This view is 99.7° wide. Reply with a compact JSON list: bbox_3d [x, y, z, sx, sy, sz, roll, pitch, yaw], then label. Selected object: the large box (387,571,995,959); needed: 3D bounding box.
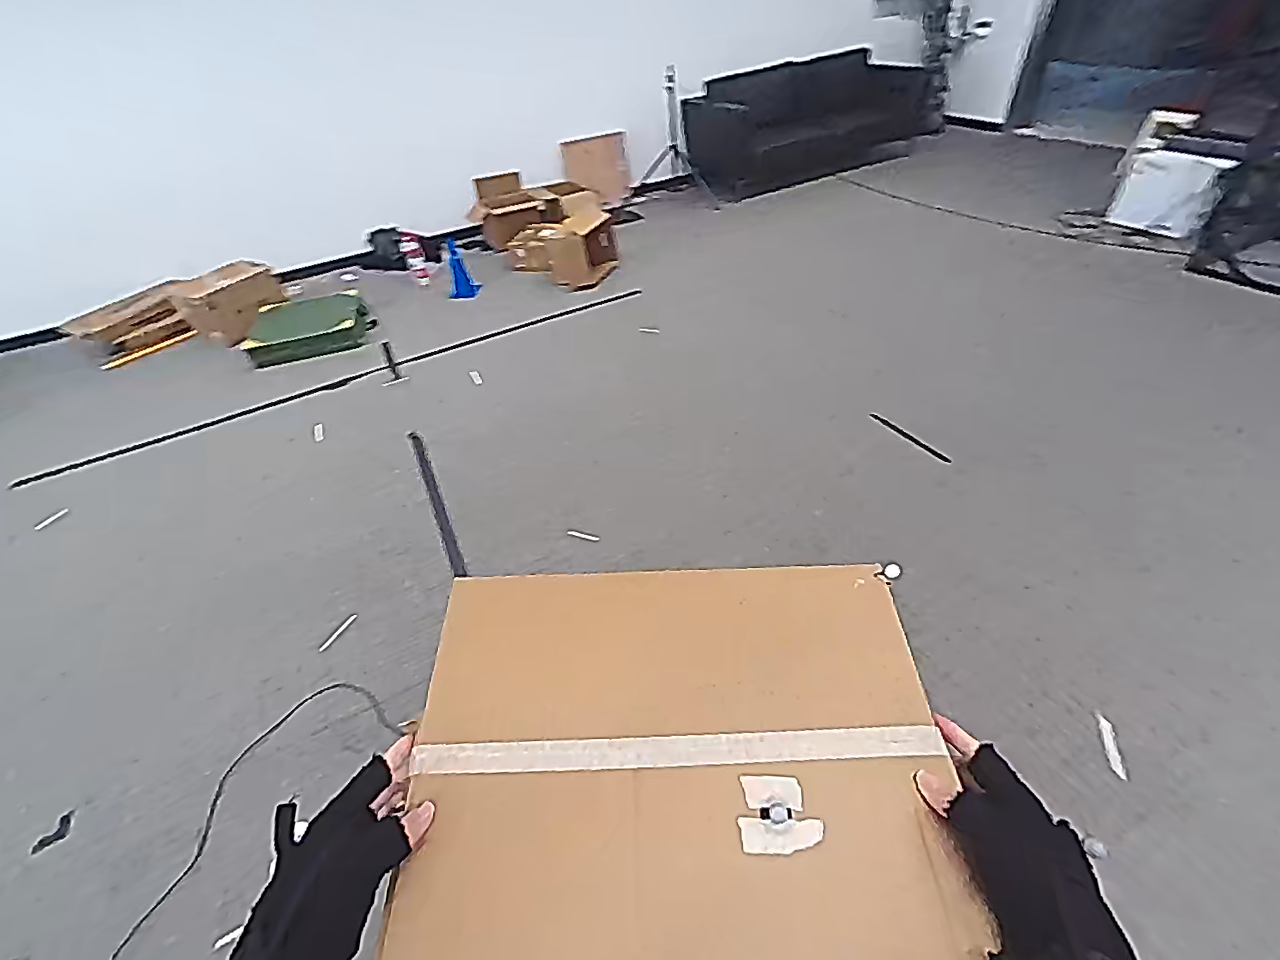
[{"bbox_3d":[0.027,0.311,0.546,0.408,0.320,0.320,-2,52,0],"label":"large box"}]
